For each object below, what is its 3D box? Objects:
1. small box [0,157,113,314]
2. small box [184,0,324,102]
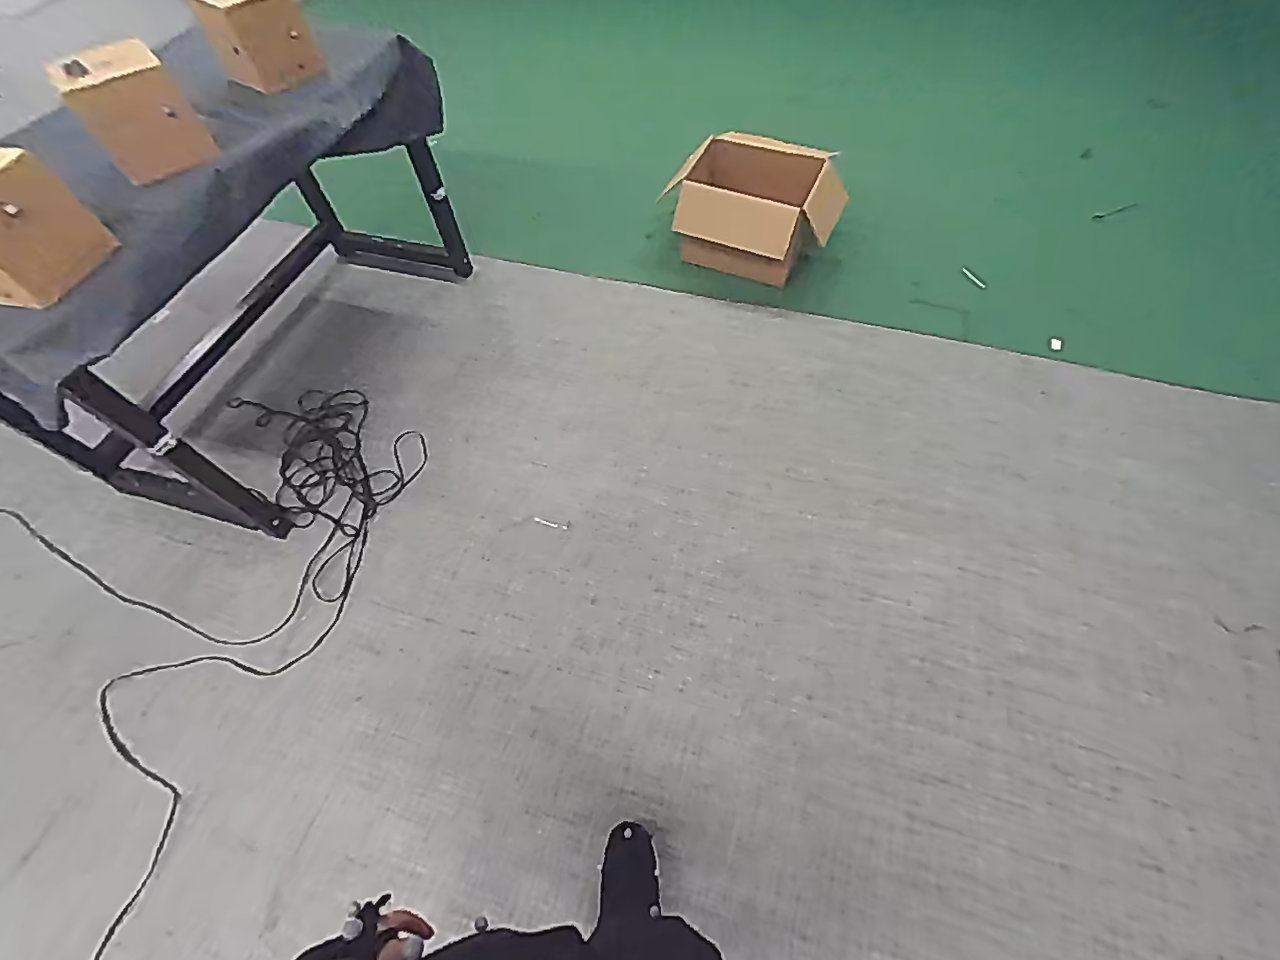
[{"bbox_3d":[-1.038,-0.402,0.886,0.168,0.176,0.179,9,59,11],"label":"small box"},{"bbox_3d":[-0.895,-1.025,1.272,0.179,0.176,0.168,30,63,20],"label":"small box"}]
